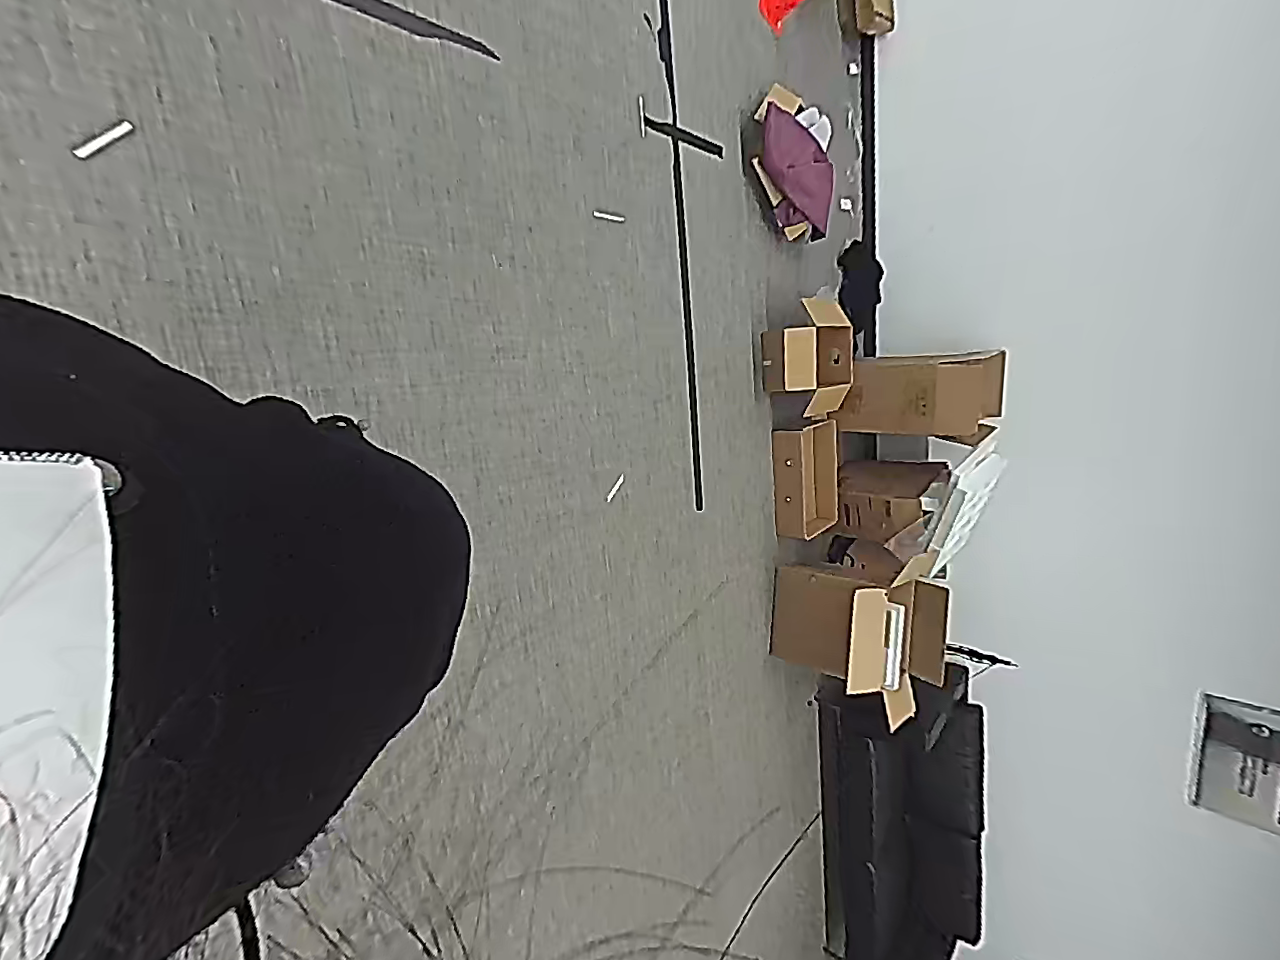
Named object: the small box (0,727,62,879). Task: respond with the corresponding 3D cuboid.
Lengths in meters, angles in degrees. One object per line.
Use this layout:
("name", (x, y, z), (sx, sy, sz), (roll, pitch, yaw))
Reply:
("small box", (-1.016, 0.503, 0.816), (0.179, 0.176, 0.168), (-16, 106, -45))
